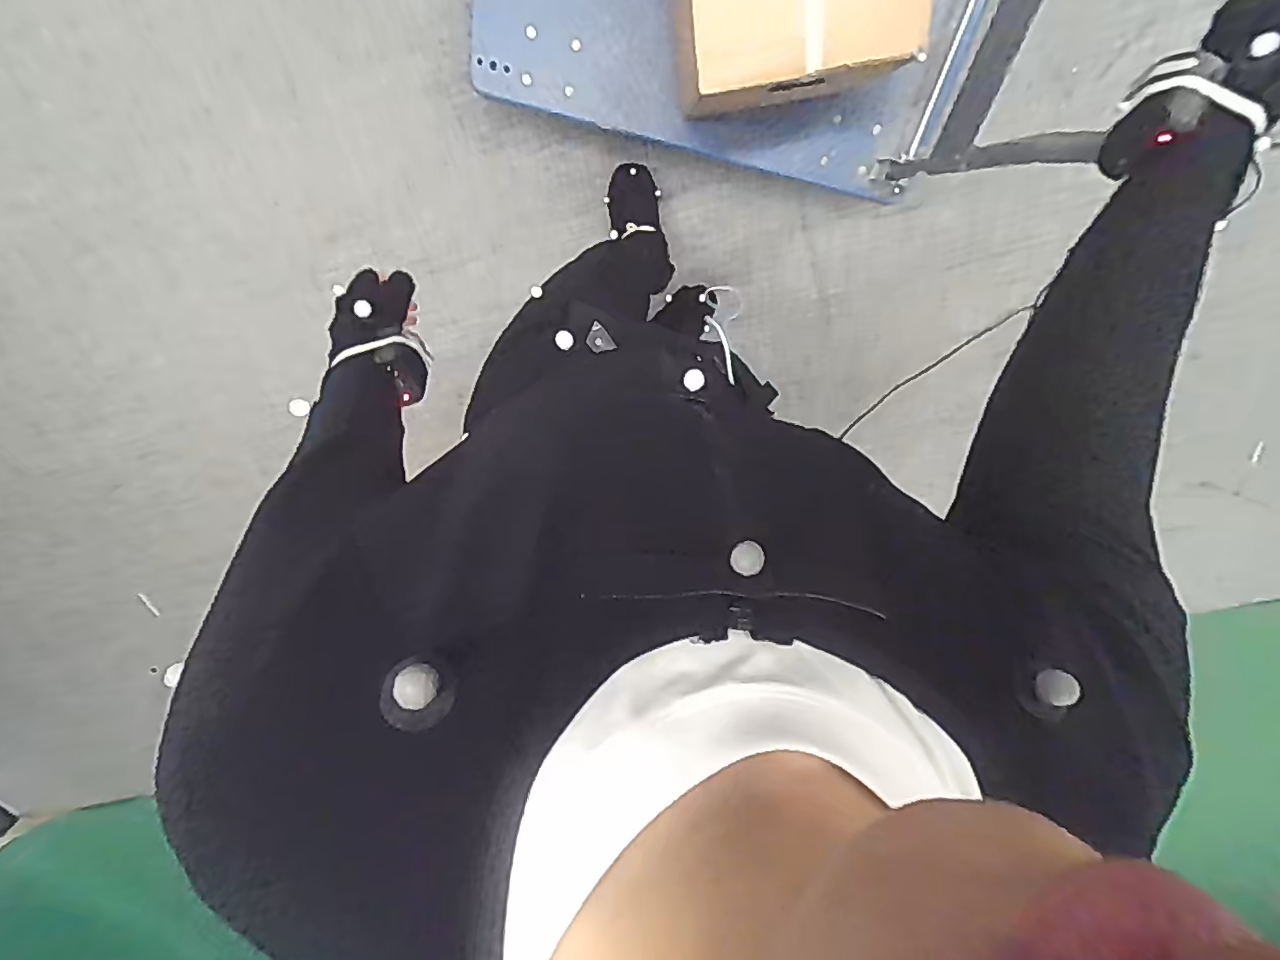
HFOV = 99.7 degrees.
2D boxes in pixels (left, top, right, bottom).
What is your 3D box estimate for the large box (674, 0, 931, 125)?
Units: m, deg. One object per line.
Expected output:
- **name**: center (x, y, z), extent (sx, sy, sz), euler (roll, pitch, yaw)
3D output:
- **large box**: center (0.210, -0.799, 0.796), extent (0.320, 0.320, 0.408), euler (-8, 118, 4)
